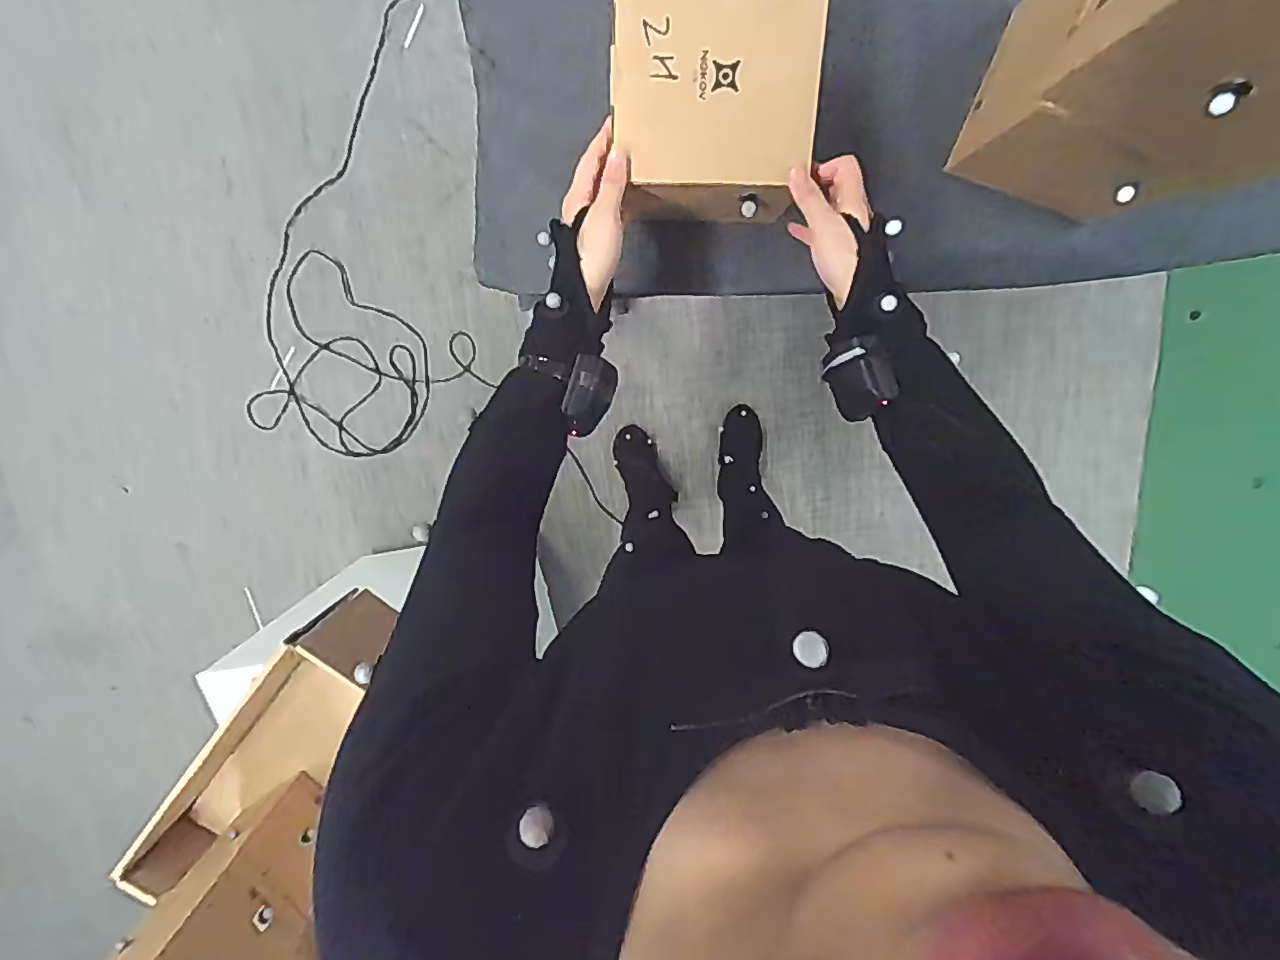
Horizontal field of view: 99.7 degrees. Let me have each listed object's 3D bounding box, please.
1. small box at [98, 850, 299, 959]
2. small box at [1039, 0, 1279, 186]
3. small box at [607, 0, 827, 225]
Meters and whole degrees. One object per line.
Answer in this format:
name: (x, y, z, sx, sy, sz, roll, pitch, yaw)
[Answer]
small box: (-0.652, 0.694, 0.784, 0.179, 0.176, 0.168, -33, 104, 10)
small box: (0.423, -0.317, 0.344, 0.179, 0.176, 0.168, 27, 104, -3)
small box: (0.065, -0.355, 0.529, 0.179, 0.176, 0.168, 3, 106, 3)
